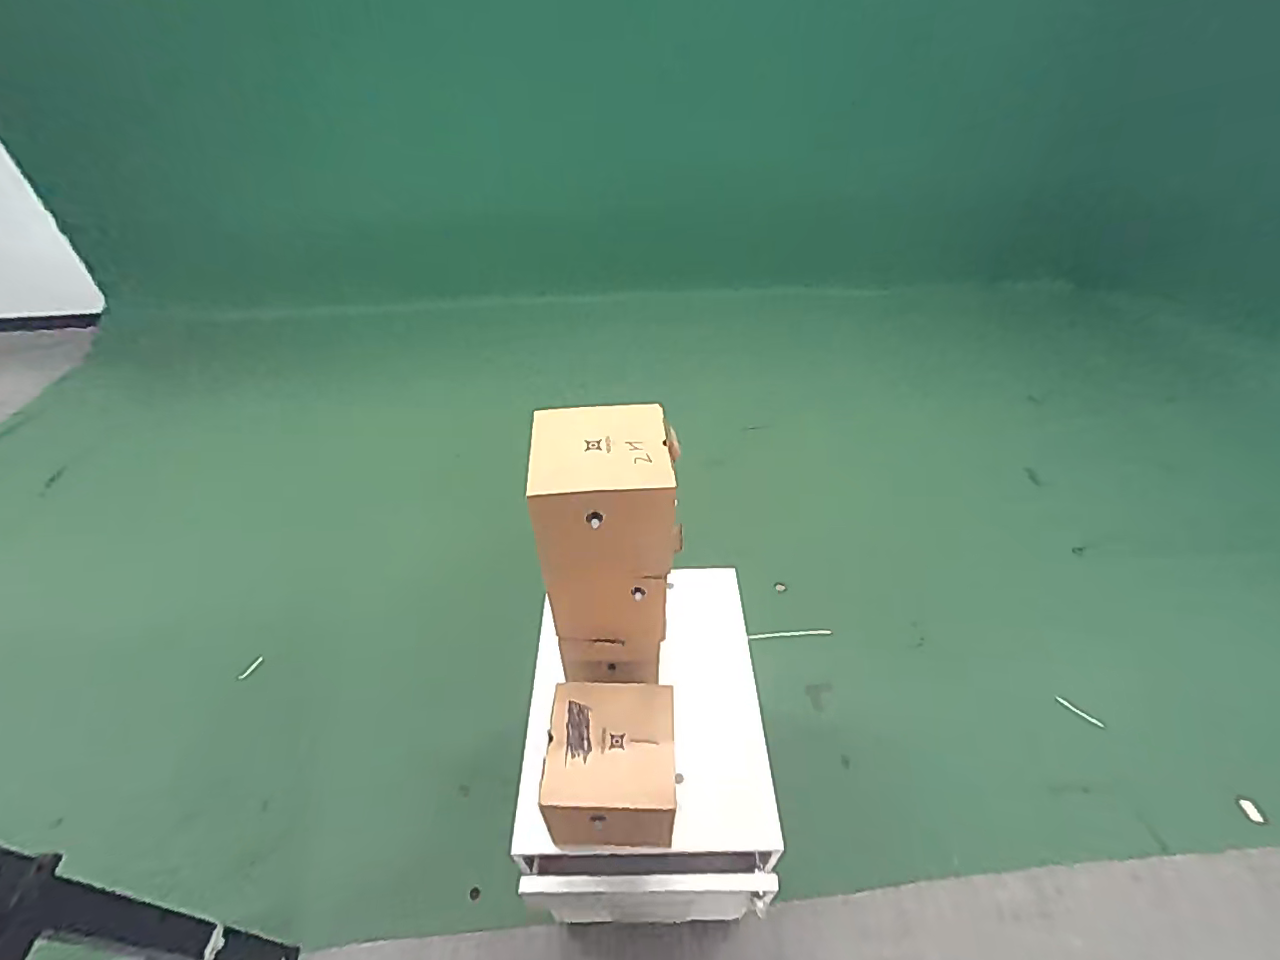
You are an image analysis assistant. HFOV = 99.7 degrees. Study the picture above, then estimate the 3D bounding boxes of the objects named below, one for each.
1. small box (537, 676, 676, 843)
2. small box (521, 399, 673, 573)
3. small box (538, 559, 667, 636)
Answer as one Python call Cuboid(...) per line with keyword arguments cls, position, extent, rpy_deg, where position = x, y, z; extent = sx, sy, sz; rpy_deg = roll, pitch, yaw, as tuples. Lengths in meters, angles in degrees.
Cuboid(cls="small box", position=(-0.039, 0.402, 0.777), extent=(0.179, 0.176, 0.168), rpy_deg=(2, 42, 1))
Cuboid(cls="small box", position=(-0.053, 0.011, 0.721), extent=(0.179, 0.176, 0.168), rpy_deg=(-3, 44, -4))
Cuboid(cls="small box", position=(-0.048, 0.126, 0.838), extent=(0.179, 0.176, 0.168), rpy_deg=(2, 43, 1))
